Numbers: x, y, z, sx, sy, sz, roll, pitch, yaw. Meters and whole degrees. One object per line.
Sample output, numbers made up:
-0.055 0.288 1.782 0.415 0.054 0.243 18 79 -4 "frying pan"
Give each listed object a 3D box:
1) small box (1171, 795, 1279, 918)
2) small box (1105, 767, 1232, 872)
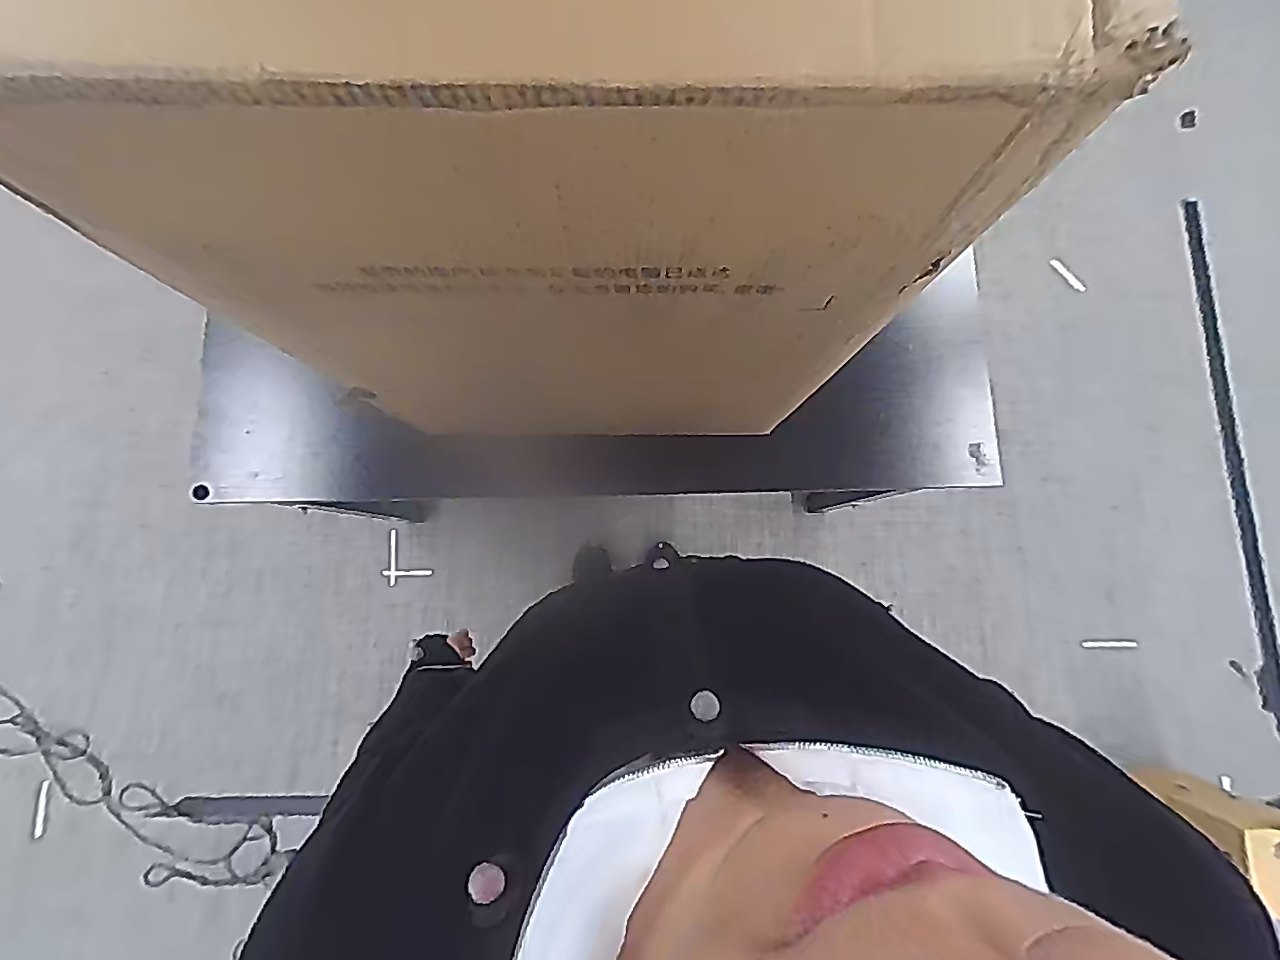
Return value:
1.337 0.818 1.194 0.168 0.176 0.179 -2 82 0 "small box"
1.335 0.841 1.358 0.179 0.176 0.168 -6 81 0 "small box"
